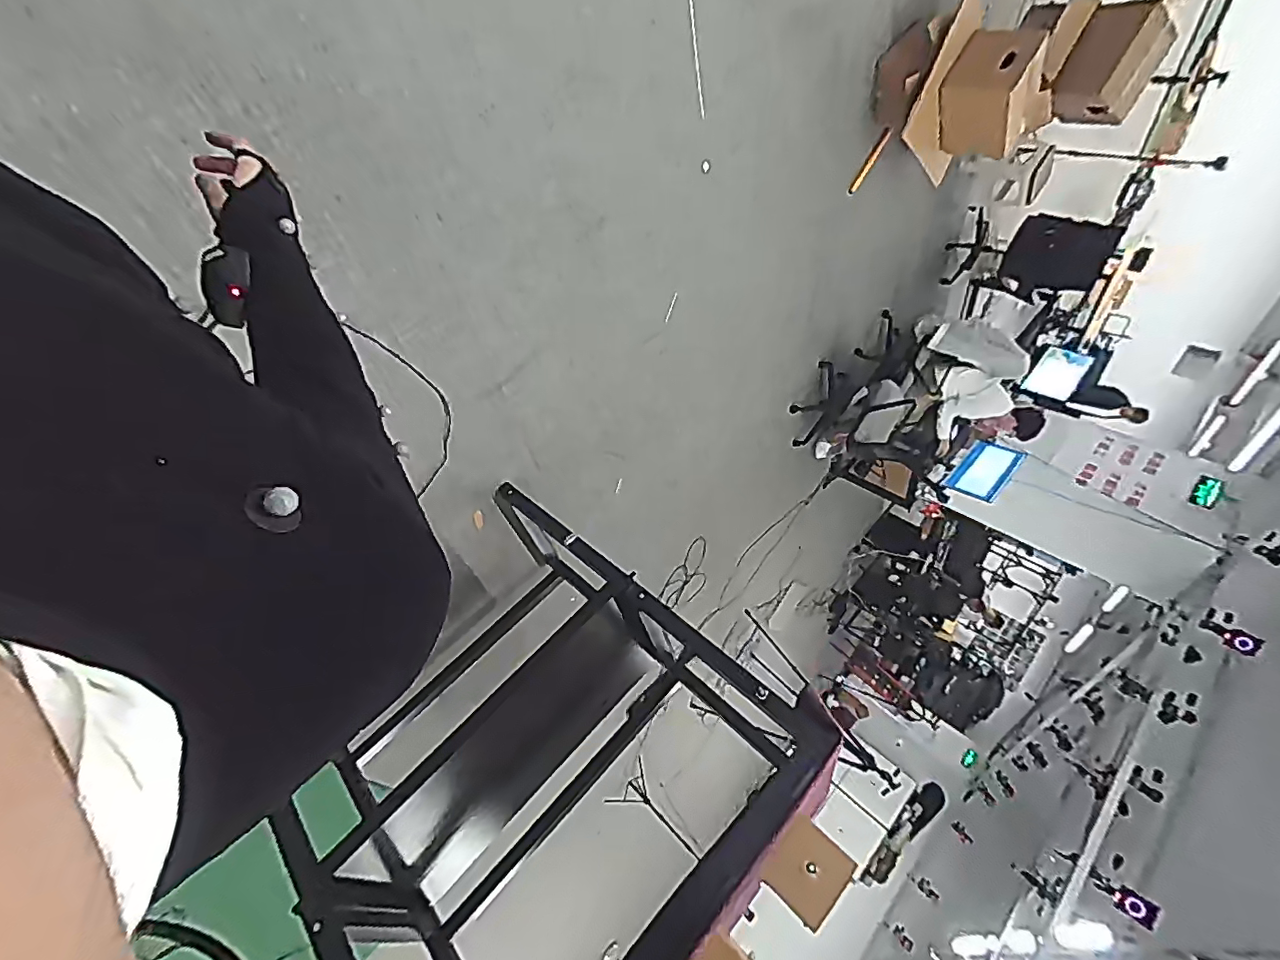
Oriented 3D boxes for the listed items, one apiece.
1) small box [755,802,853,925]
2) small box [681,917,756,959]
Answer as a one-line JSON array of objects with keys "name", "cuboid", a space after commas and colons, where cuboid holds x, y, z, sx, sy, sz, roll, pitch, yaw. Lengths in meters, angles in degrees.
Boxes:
[{"name": "small box", "cuboid": [0.393, 0.933, 1.319, 0.179, 0.176, 0.168, -44, 144, -19]}, {"name": "small box", "cuboid": [0.178, 1.133, 1.219, 0.179, 0.176, 0.168, -42, 144, -20]}]
